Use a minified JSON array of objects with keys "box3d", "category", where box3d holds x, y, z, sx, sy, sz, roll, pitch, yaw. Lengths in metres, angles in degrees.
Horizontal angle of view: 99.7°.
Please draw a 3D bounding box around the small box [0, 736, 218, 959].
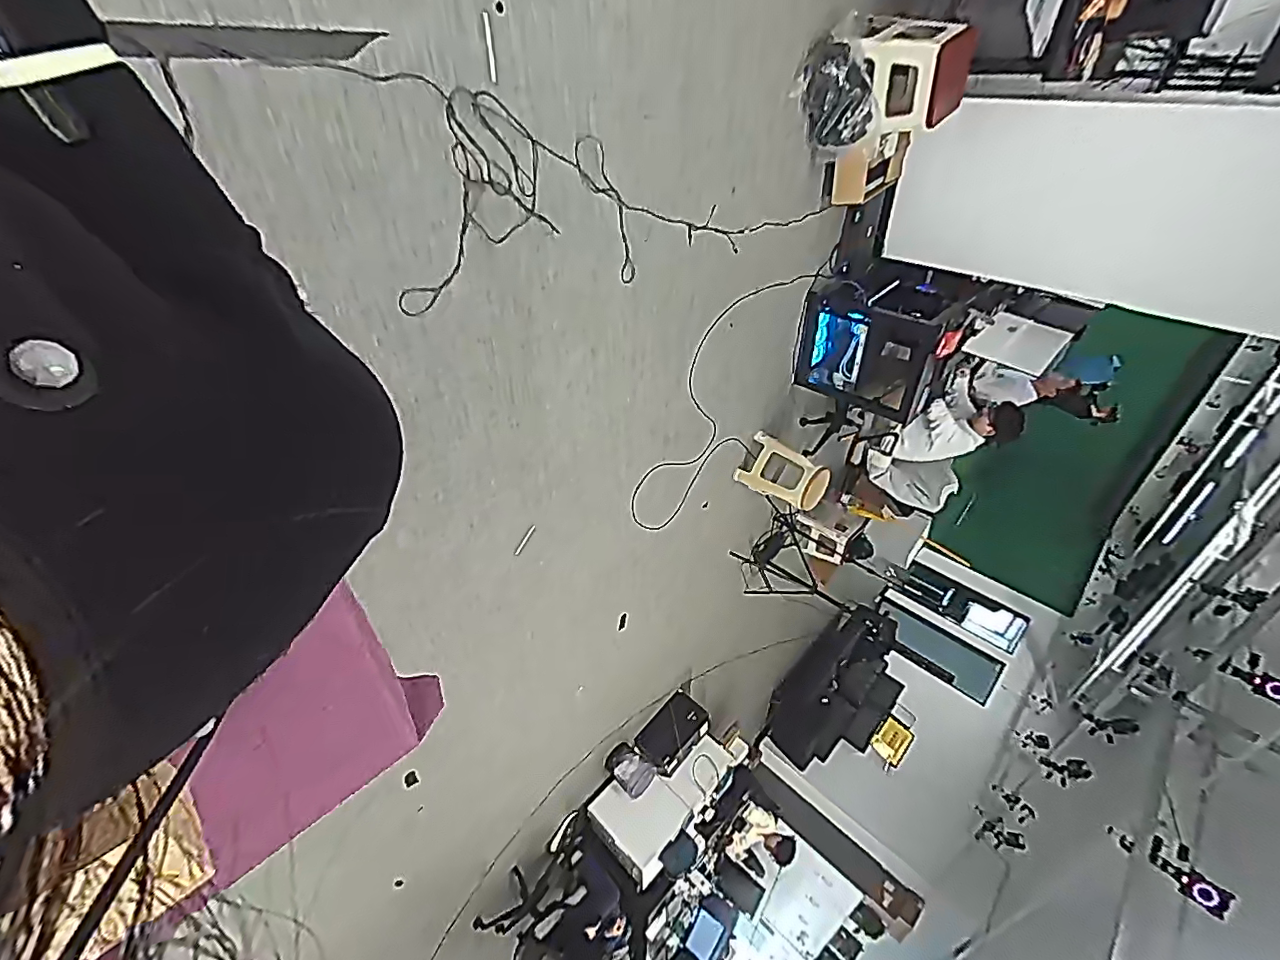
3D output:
[{"box3d":[-0.695,0.479,0.695,0.179,0.176,0.168,-29,136,-37],"category":"small box"}]
